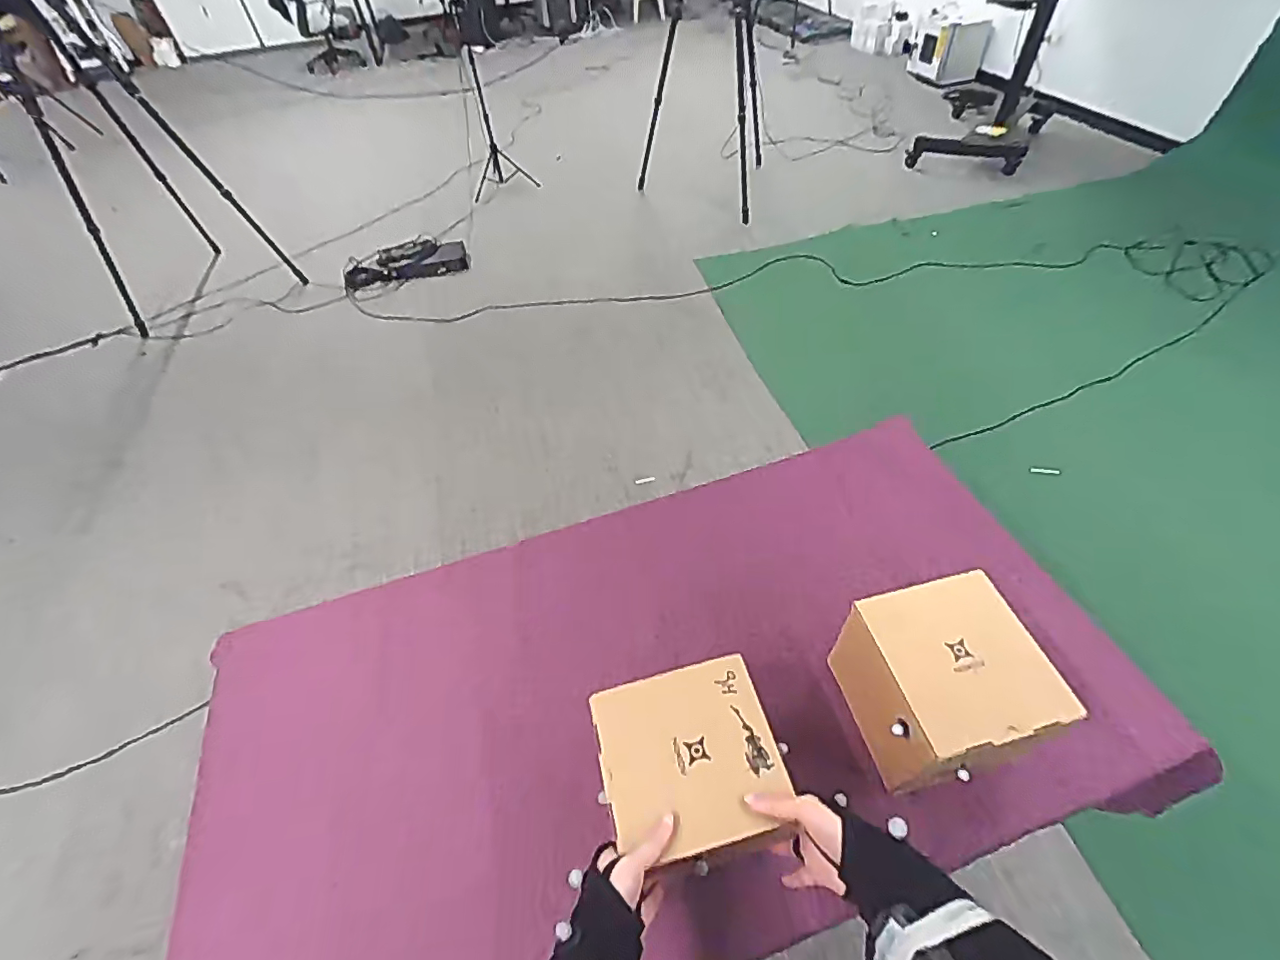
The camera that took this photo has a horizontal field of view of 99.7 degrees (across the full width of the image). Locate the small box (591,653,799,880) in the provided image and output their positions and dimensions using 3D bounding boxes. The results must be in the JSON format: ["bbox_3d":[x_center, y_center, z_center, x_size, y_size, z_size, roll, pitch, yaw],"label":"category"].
[{"bbox_3d":[0.056,0.324,0.606,0.179,0.176,0.168,-14,50,-5],"label":"small box"}]

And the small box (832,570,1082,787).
[{"bbox_3d":[0.353,0.239,0.649,0.168,0.176,0.179,-13,51,-5],"label":"small box"}]
